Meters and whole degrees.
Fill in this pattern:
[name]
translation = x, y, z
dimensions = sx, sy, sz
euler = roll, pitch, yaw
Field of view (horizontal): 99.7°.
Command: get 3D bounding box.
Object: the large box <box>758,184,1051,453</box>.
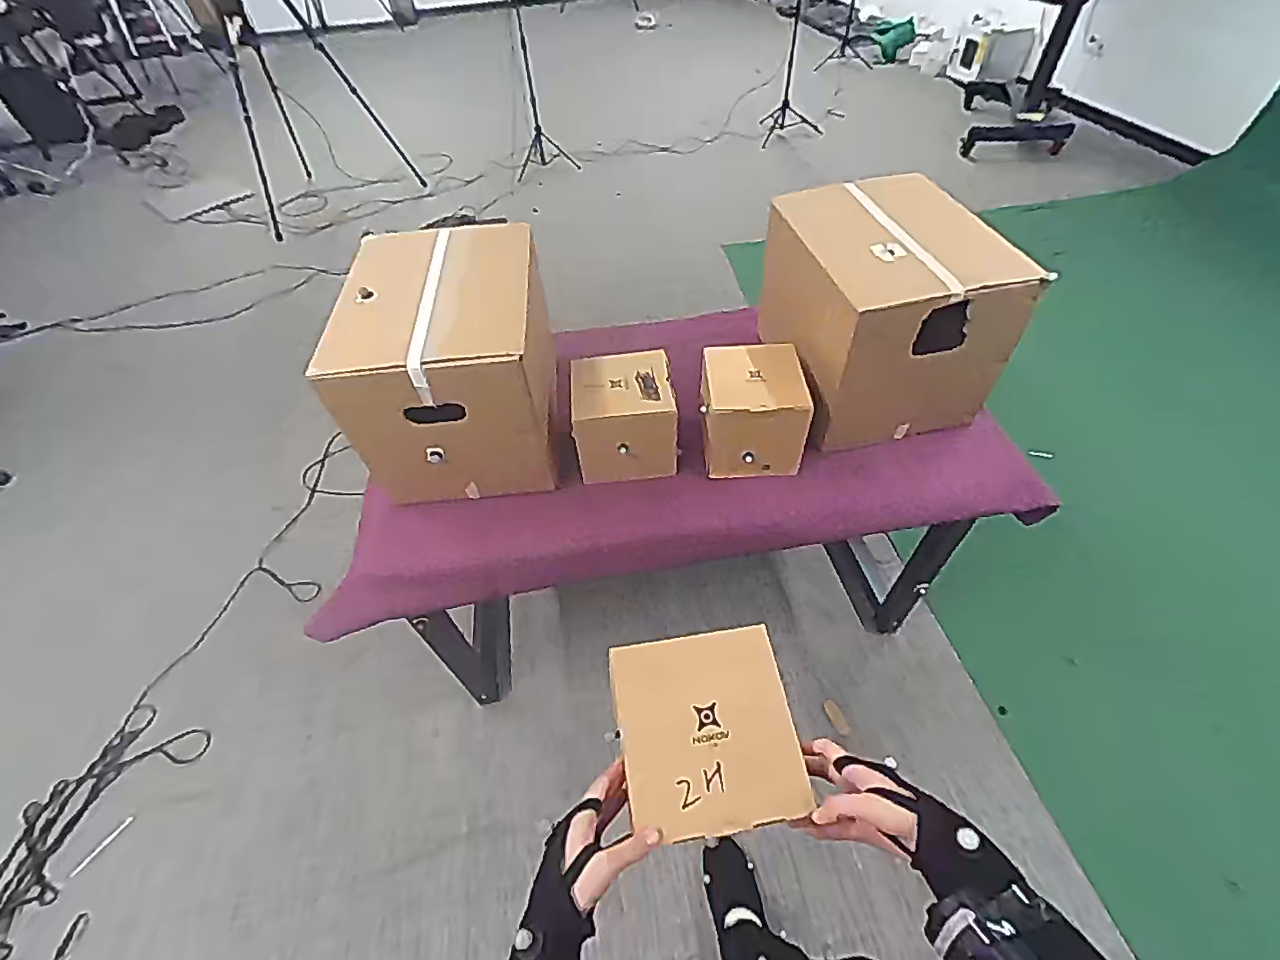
[large box]
translation = 0.451, -0.317, 1.051
dimensions = 0.320, 0.320, 0.408
euler = -11, 51, -3

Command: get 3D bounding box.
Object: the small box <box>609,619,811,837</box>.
[small box]
translation = 0.056, 0.268, 0.582
dimensions = 0.168, 0.176, 0.179
euler = -7, 59, -6
